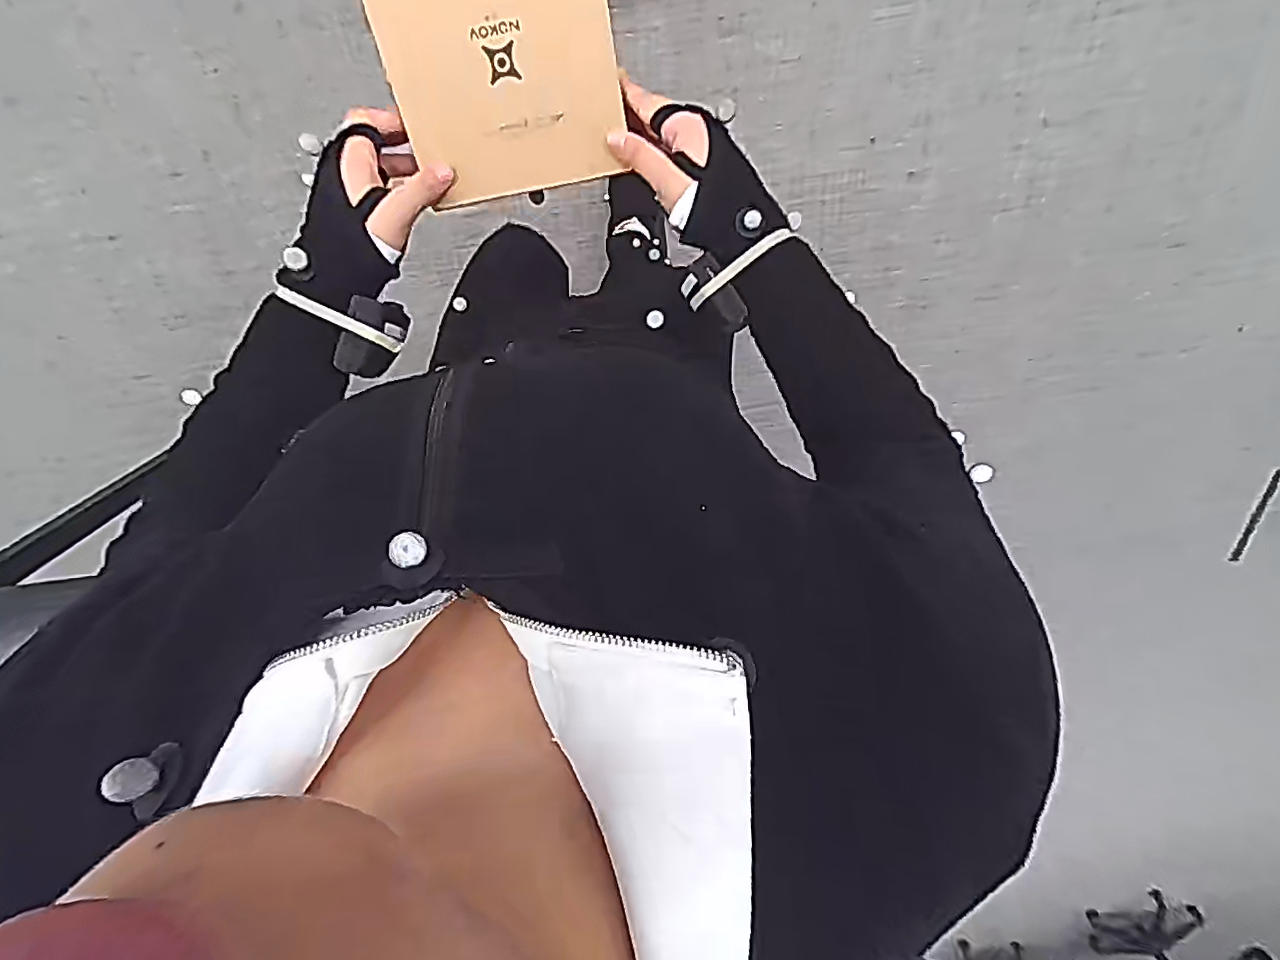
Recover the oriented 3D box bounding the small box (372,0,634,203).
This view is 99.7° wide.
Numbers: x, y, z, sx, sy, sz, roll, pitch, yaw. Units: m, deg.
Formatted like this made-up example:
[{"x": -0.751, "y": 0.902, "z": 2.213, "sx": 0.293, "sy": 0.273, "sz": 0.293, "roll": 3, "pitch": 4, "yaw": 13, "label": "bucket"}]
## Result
[{"x": -0.103, "y": -0.351, "z": 0.458, "sx": 0.168, "sy": 0.176, "sz": 0.179, "roll": -10, "pitch": 123, "yaw": 2, "label": "small box"}]
